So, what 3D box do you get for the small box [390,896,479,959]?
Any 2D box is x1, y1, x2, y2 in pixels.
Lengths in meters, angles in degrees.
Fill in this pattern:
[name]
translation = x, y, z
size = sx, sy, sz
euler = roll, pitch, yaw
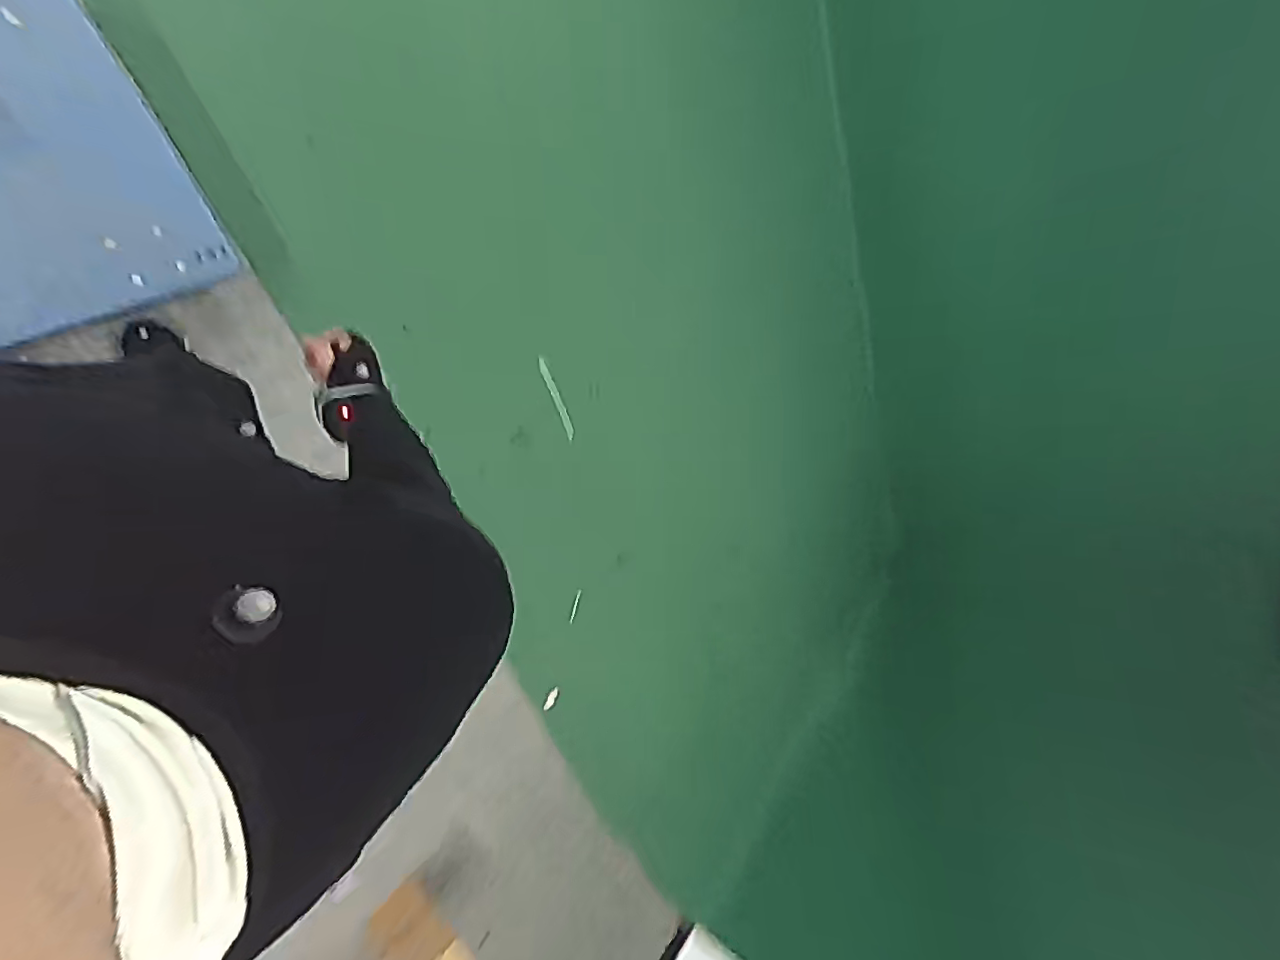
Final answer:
[small box]
translation = -0.630, 1.427, 1.648
size = 0.168, 0.176, 0.179
euler = -35, 119, -35
